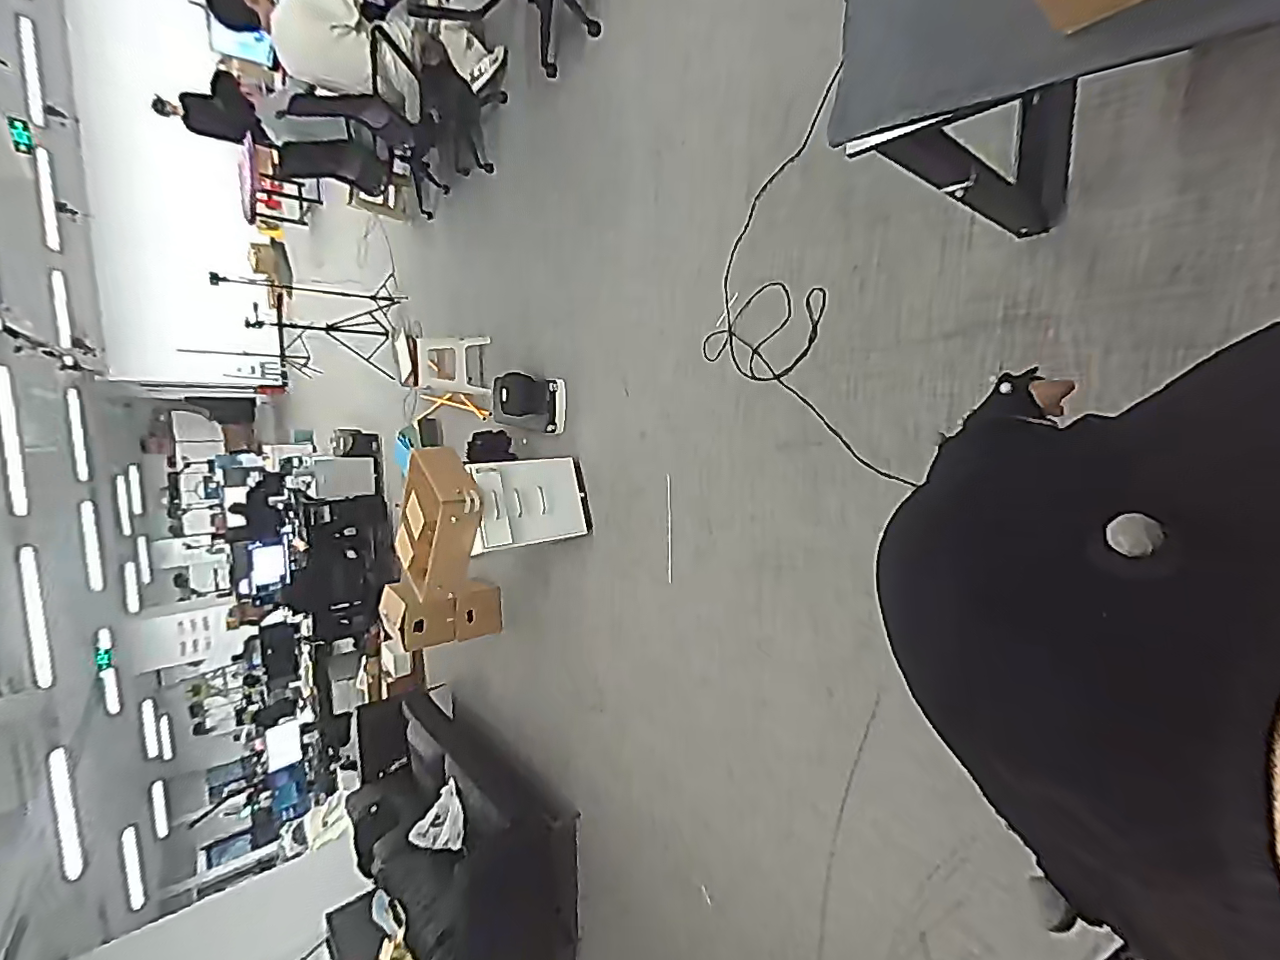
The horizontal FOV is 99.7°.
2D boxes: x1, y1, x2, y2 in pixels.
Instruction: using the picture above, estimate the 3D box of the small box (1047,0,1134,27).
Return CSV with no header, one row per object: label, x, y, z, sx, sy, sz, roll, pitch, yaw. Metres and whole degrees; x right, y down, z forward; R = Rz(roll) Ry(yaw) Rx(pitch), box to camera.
small box,0.465,-0.582,0.495,0.168,0.176,0.179,7,100,51
